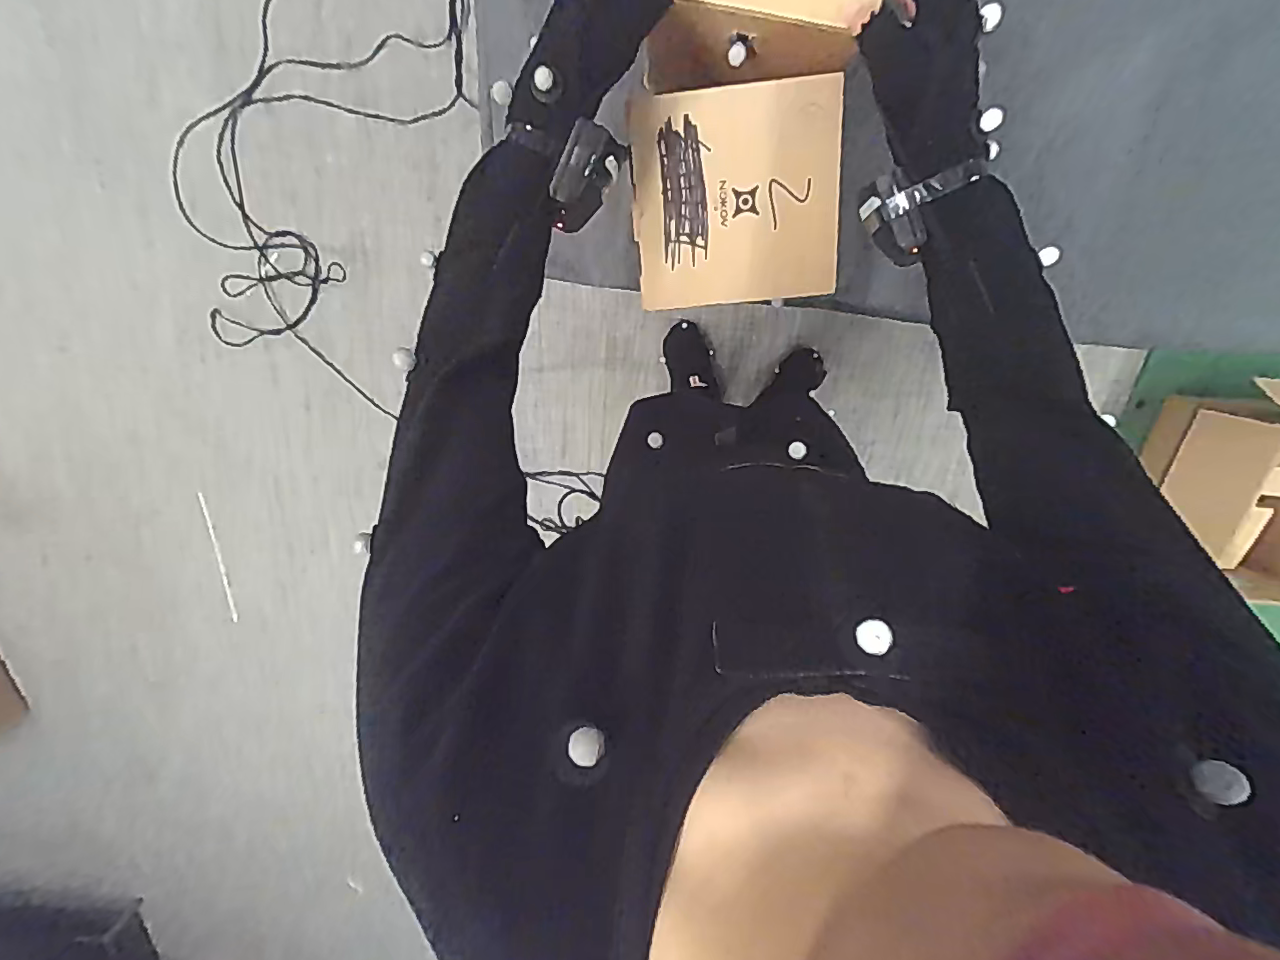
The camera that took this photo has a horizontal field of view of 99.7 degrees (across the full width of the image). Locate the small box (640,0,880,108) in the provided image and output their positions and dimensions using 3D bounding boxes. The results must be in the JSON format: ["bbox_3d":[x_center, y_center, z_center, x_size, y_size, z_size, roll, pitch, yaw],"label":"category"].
[{"bbox_3d":[0.101,-0.439,0.448,0.179,0.176,0.168,9,106,1],"label":"small box"}]
